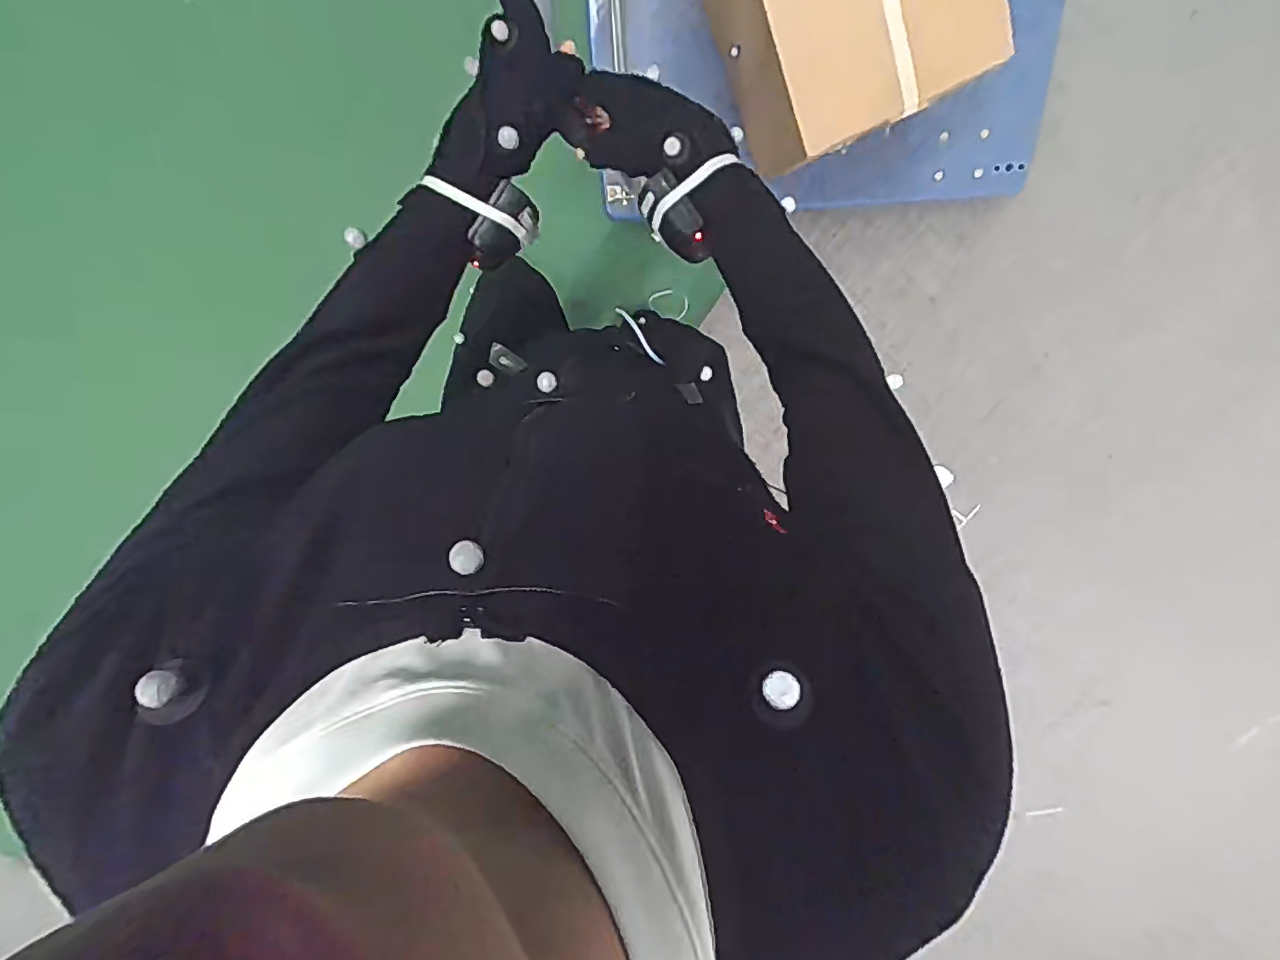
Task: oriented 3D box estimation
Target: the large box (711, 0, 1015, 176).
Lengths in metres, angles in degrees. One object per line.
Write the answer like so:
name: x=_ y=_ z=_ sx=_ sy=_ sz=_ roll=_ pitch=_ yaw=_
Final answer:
large box: x=0.312 y=-0.773 z=0.856 sx=0.320 sy=0.320 sz=0.408 roll=-22 pitch=111 yaw=8
